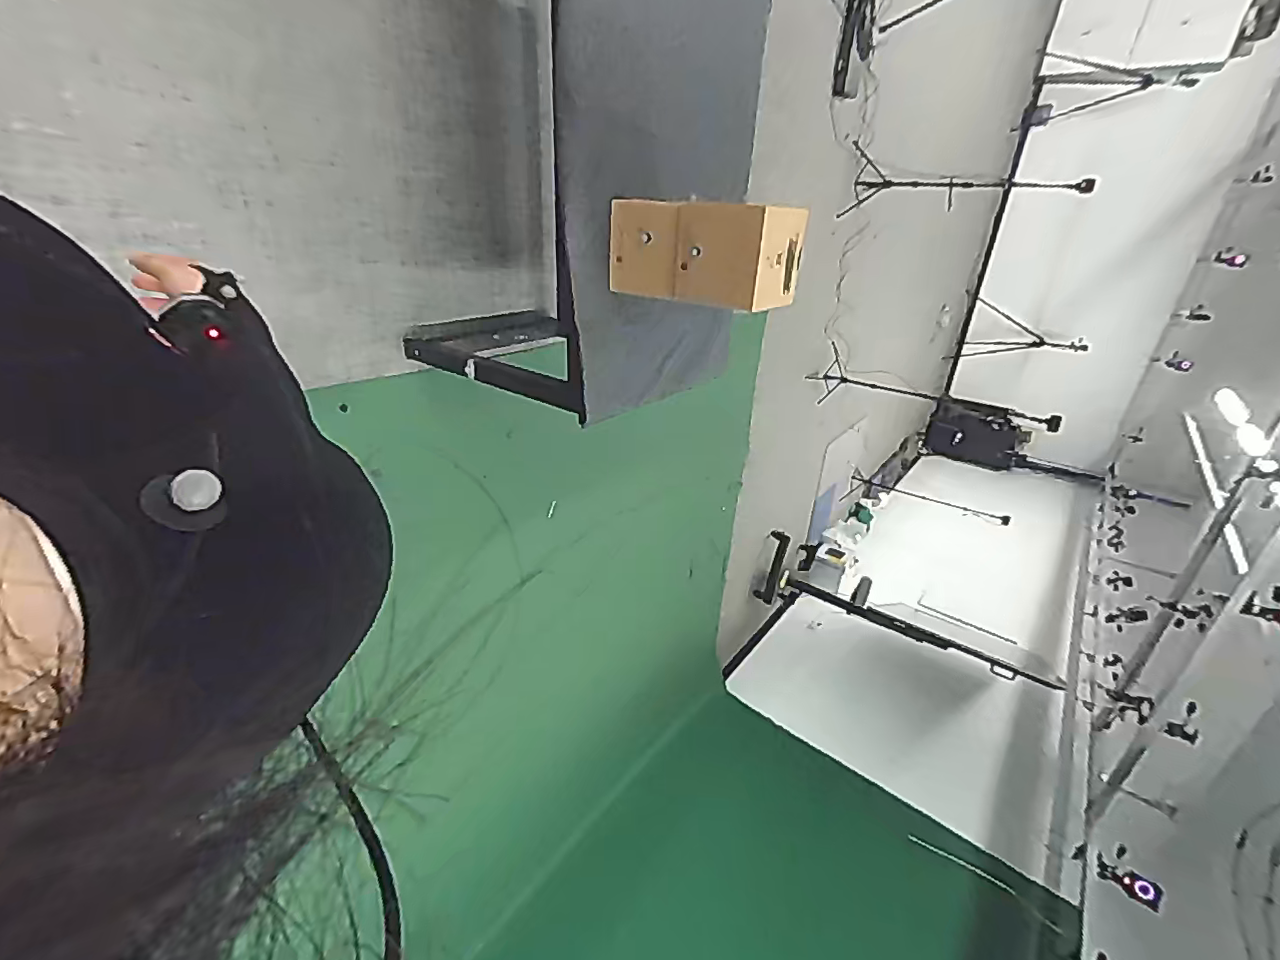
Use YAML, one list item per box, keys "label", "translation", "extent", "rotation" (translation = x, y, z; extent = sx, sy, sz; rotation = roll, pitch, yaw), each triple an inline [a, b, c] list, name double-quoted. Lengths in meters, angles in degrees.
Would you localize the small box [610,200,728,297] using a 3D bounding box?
- label: "small box"
  translation: [0.053, -0.462, 1.078]
  extent: [0.179, 0.176, 0.168]
  rotation: [-29, 130, -47]
